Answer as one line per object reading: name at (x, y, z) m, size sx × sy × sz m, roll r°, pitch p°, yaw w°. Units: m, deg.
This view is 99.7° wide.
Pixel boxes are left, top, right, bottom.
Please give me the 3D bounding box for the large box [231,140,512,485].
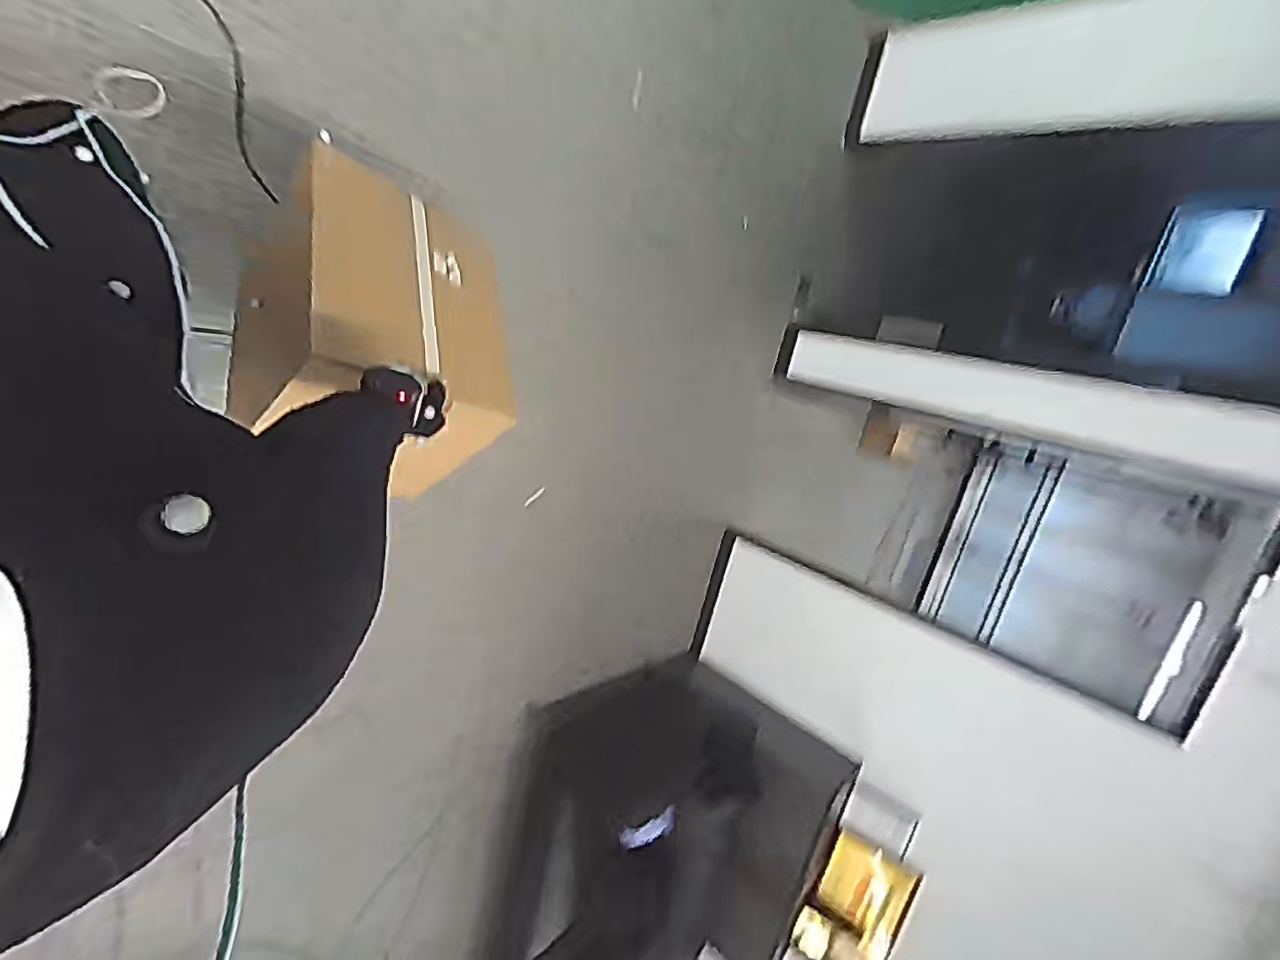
large box at (-0.462, -0.246, 0.923) m, size 0.320 × 0.320 × 0.408 m, roll 16°, pitch 52°, yaw -50°
